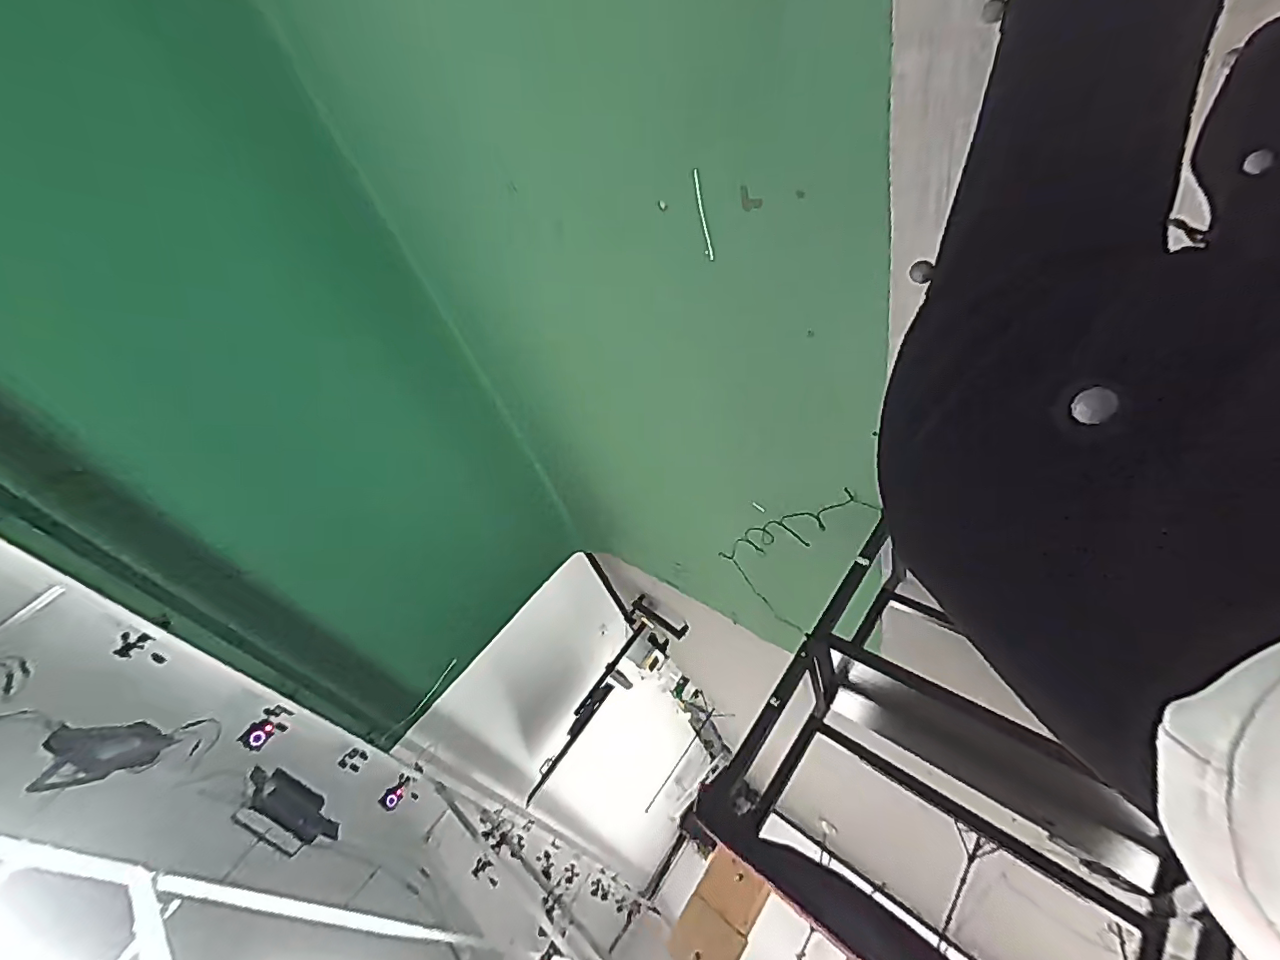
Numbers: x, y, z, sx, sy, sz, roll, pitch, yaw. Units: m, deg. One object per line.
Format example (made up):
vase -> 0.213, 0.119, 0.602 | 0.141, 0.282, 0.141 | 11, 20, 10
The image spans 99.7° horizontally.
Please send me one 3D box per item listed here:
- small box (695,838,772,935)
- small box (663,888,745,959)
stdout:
small box -> 0.304, 1.290, 1.722 | 0.168, 0.176, 0.179 | 22, 147, 38
small box -> 0.203, 1.396, 1.644 | 0.179, 0.176, 0.168 | 21, 147, 38
